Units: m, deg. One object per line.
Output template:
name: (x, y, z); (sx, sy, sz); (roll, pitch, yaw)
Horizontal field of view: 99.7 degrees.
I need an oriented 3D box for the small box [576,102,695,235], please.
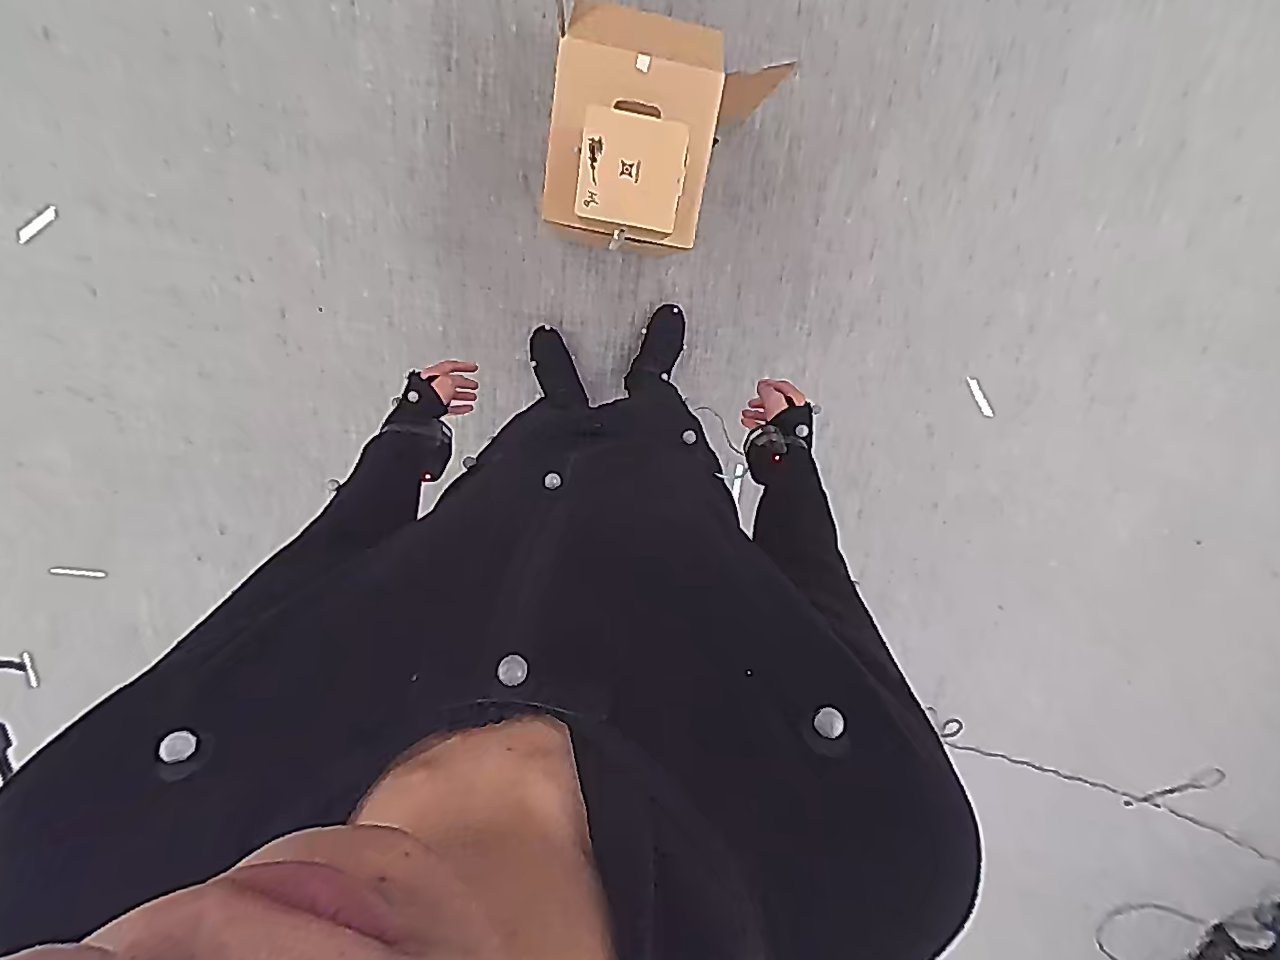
small box: (-0.014, -0.543, 0.969); (0.179, 0.176, 0.168); (8, 111, -7)
